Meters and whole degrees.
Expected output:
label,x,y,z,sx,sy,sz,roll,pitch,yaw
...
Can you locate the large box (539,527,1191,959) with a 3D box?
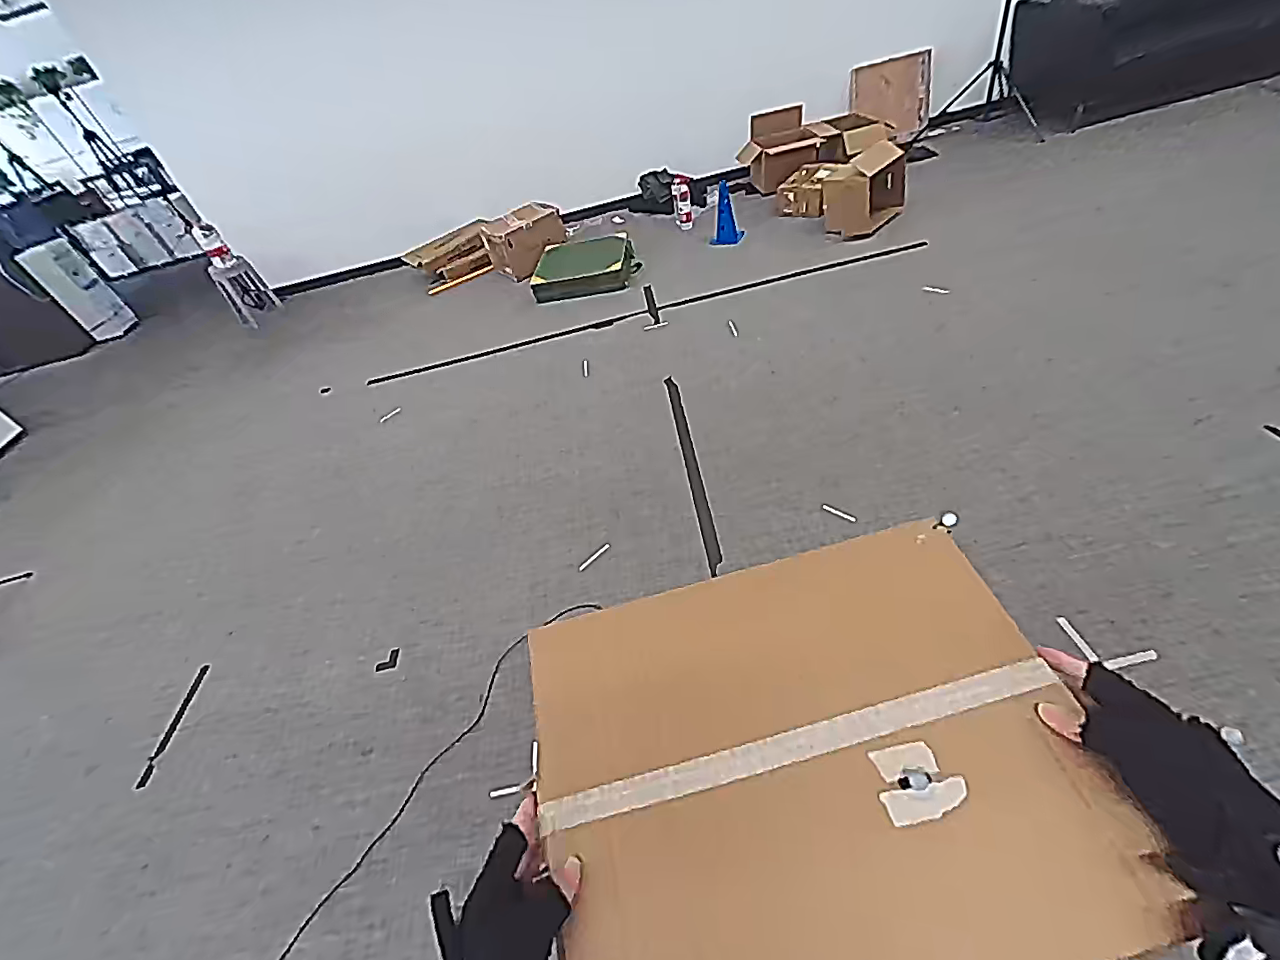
label,x,y,z,sx,sy,sz,roll,pitch,yaw
large box,0.148,0.306,0.541,0.408,0.320,0.320,-16,50,-1
